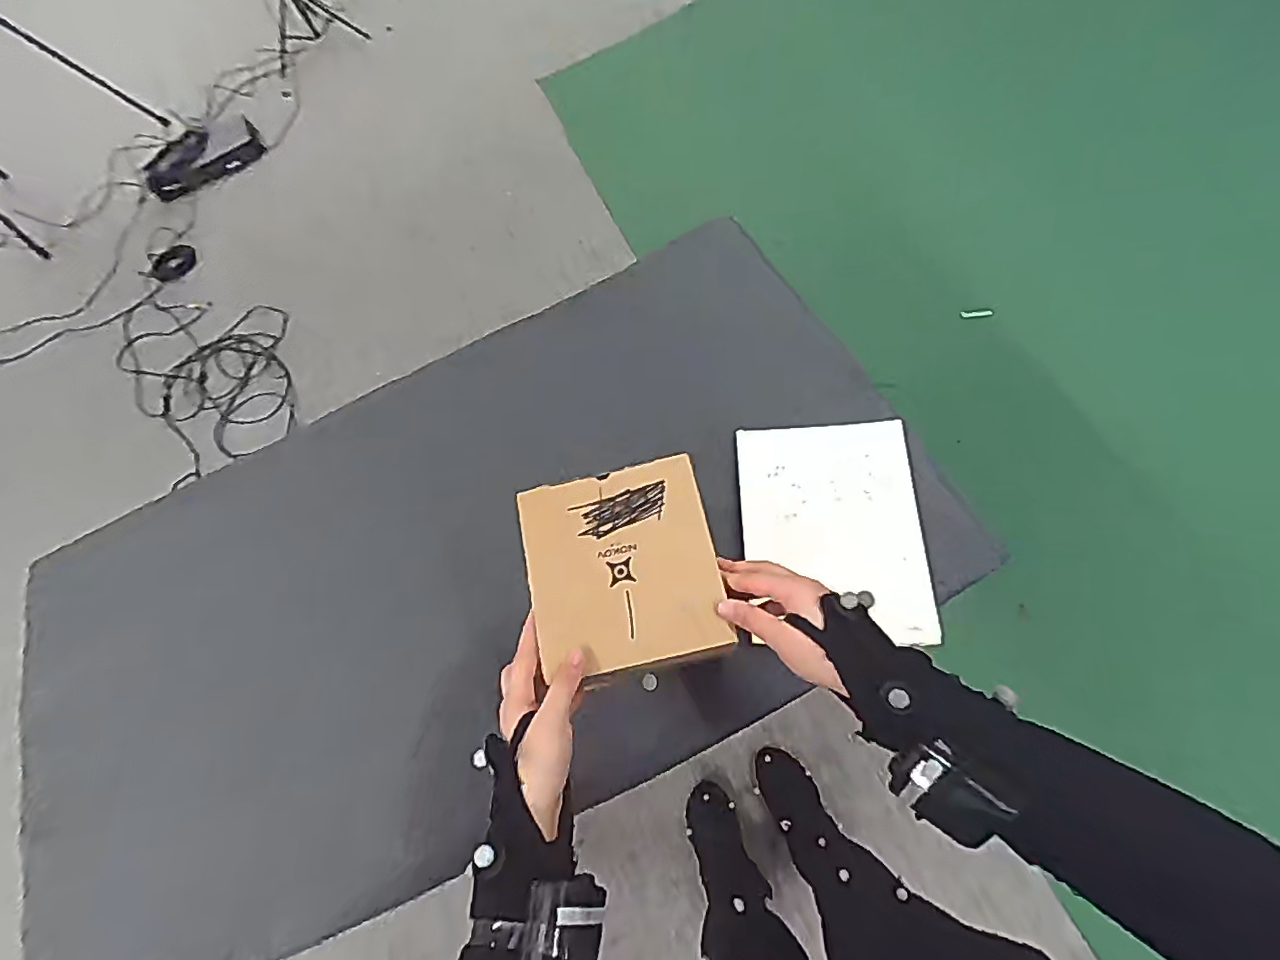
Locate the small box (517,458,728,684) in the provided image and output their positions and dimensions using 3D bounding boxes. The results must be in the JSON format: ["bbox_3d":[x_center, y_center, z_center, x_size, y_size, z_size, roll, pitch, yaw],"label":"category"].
[{"bbox_3d":[-0.015,0.103,0.555,0.168,0.176,0.179,-14,68,1],"label":"small box"}]
